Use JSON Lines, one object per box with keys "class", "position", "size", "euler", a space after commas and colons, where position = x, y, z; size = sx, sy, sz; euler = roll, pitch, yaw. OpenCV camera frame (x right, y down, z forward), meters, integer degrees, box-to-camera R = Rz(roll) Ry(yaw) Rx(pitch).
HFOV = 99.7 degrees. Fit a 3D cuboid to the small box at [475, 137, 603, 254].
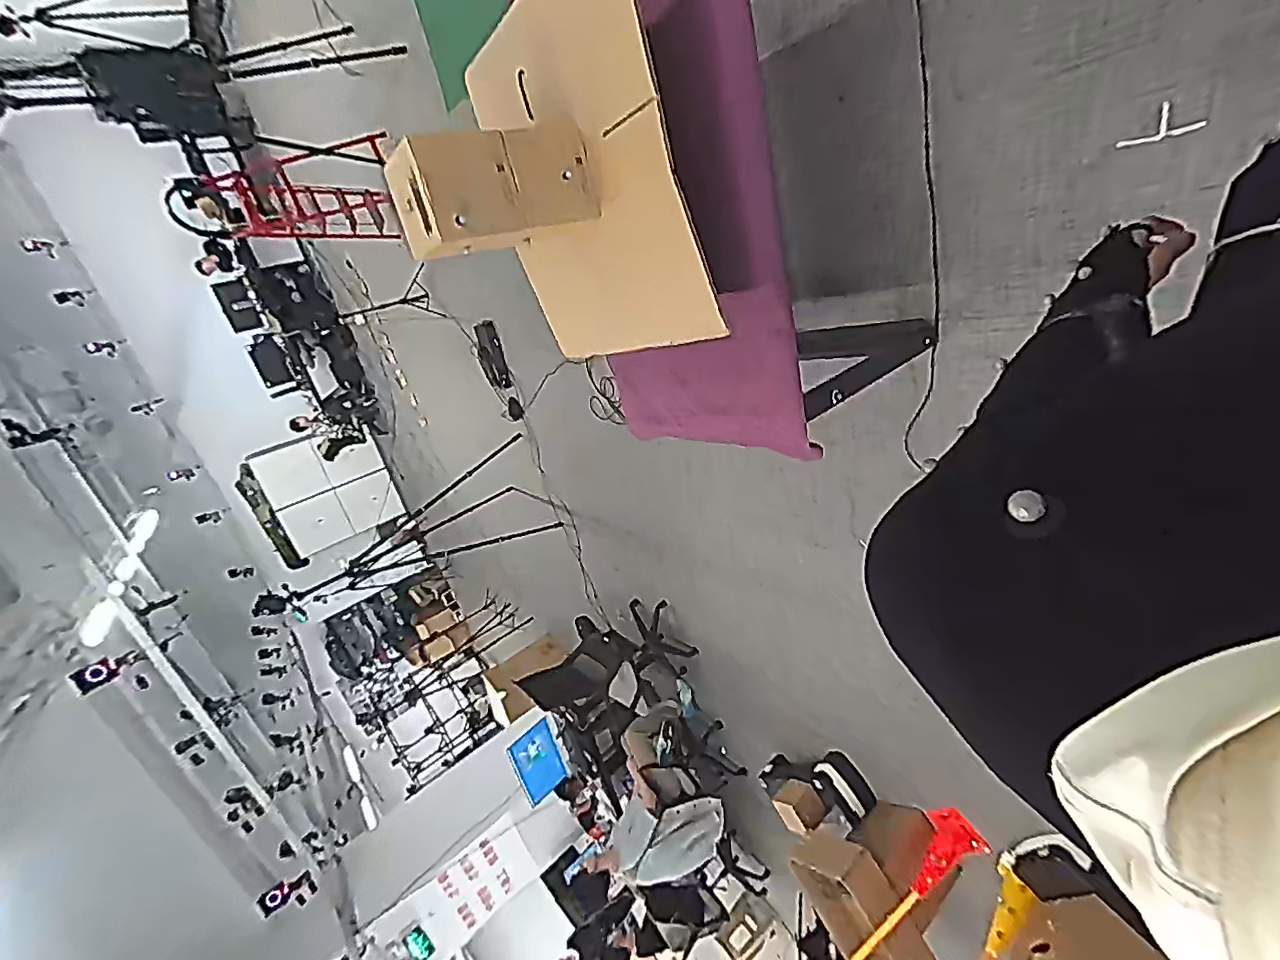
{"class": "small box", "position": [-0.201, -0.565, 1.084], "size": [0.179, 0.176, 0.168], "euler": [10, 121, 52]}
